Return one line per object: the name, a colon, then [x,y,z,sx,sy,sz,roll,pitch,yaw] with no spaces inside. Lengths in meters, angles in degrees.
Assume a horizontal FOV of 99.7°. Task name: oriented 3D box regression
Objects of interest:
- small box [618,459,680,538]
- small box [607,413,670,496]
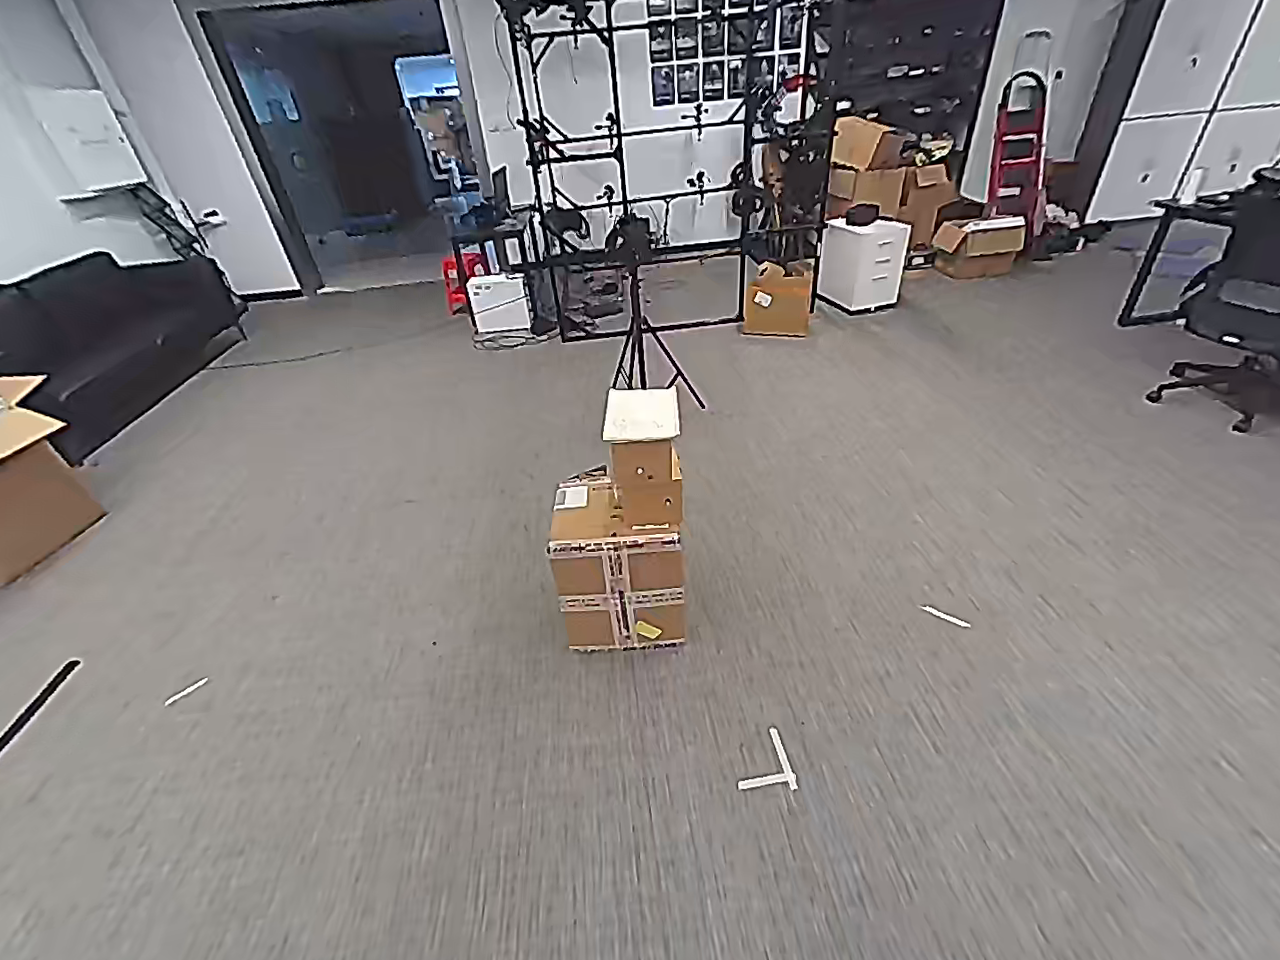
small box: [0.025,0.056,1.616,0.179,0.176,0.168,-4,36,-1]
small box: [-0.001,-0.074,1.516,0.168,0.176,0.179,-1,38,2]
